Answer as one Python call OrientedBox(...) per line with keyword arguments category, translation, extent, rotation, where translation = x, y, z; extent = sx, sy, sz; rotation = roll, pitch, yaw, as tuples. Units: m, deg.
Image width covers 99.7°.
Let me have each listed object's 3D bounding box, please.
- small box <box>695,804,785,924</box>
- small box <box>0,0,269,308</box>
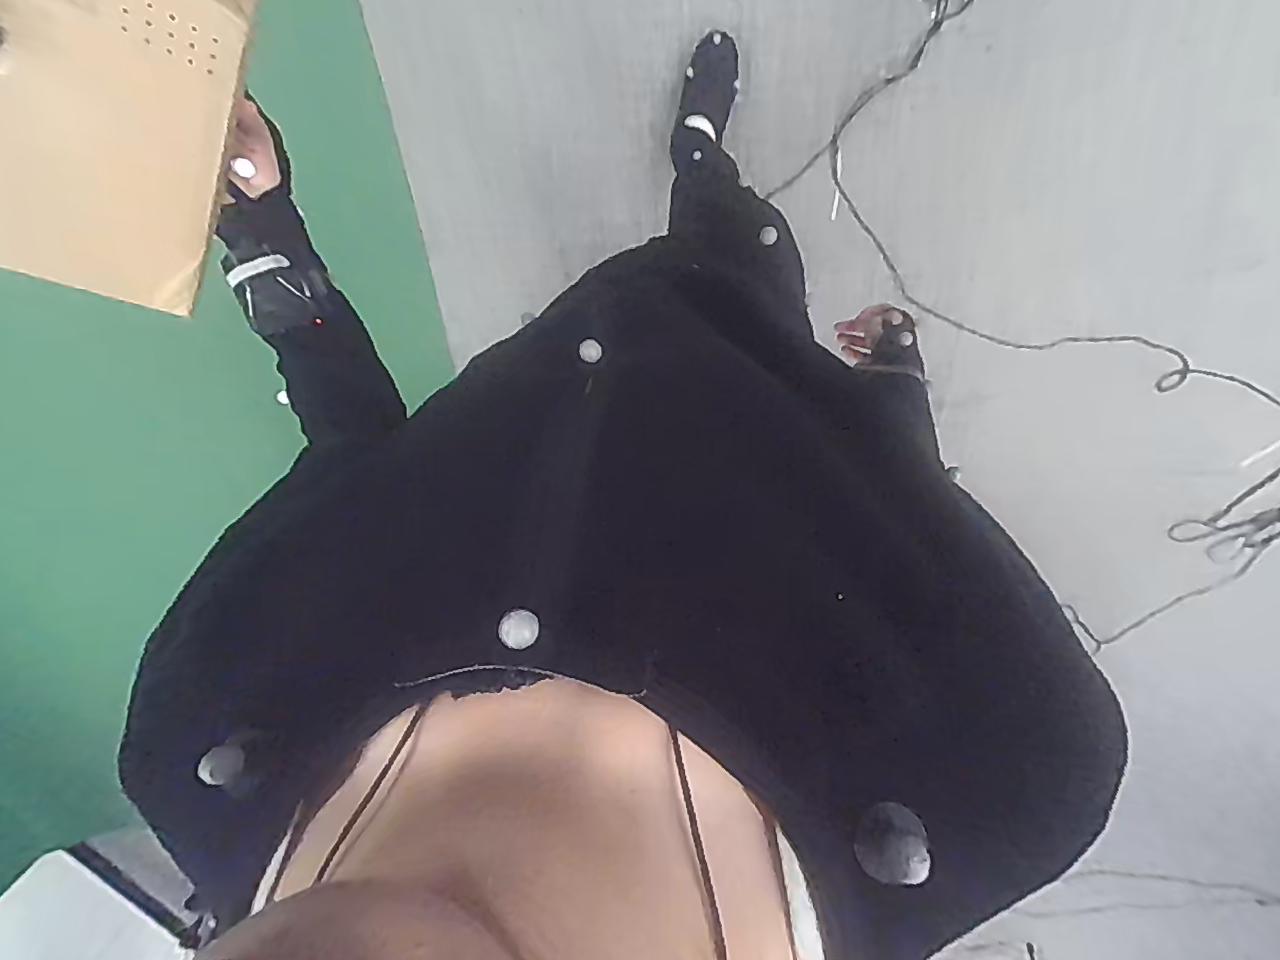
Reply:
OrientedBox(category="small box", translation=(0.214, 0.846, 1.199), extent=(0.179, 0.176, 0.168), rotation=(-1, 119, 4))
OrientedBox(category="small box", translation=(-0.275, -0.220, 0.240), extent=(0.168, 0.179, 0.176), rotation=(11, 139, -40))
